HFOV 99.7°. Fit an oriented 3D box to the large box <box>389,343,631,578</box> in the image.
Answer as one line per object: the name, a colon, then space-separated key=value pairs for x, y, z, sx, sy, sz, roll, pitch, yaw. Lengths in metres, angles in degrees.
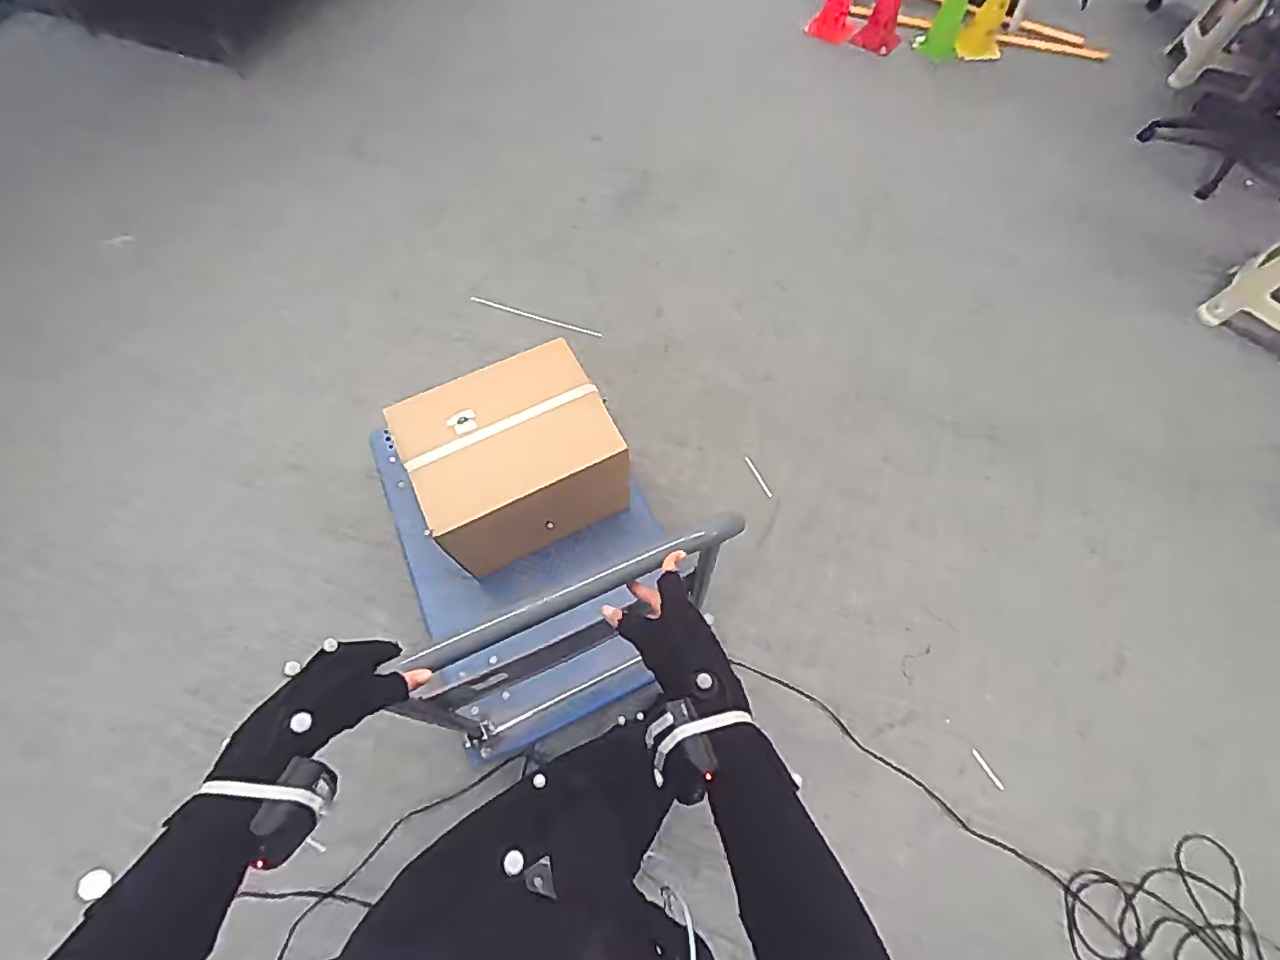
large box: x=-0.267 y=-0.033 z=1.222 sx=0.408 sy=0.320 sz=0.320 roll=-26 pitch=67 yaw=-11
